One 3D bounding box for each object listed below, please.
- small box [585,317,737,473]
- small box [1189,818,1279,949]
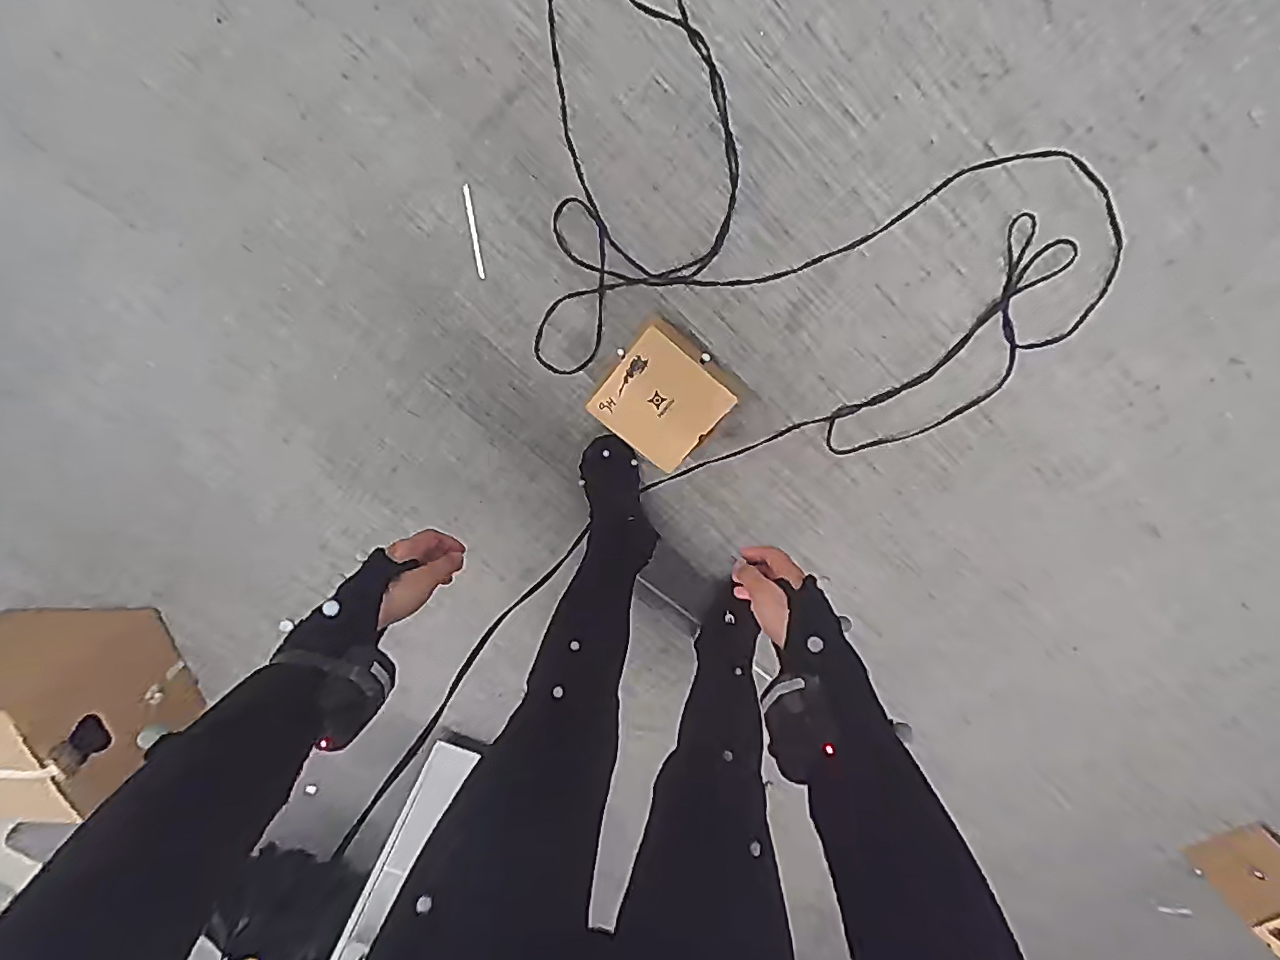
[{"bbox_3d":[0.036,-0.149,0.896,0.179,0.176,0.168,38,111,-13],"label":"small box"},{"bbox_3d":[1.492,0.963,1.298,0.168,0.176,0.179,41,110,-13],"label":"small box"}]
